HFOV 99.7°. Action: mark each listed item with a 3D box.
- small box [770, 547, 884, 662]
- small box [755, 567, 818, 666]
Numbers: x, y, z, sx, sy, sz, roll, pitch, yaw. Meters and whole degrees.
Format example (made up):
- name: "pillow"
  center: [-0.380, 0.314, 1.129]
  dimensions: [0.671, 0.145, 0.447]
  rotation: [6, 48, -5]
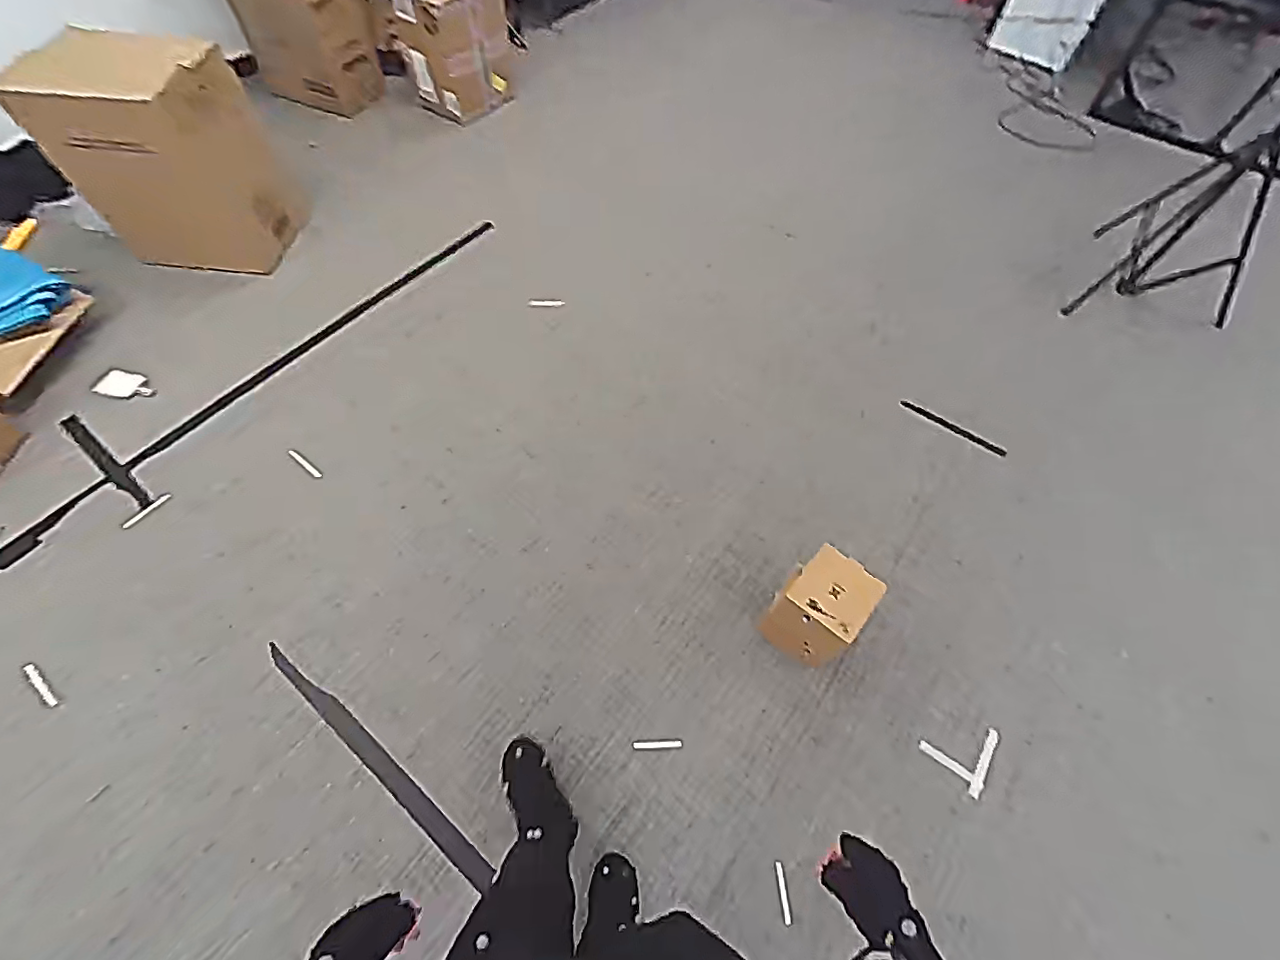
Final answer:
- name: "small box"
  center: [0.427, 0.295, 1.267]
  dimensions: [0.168, 0.176, 0.179]
  rotation: [37, 64, 19]
- name: "small box"
  center: [0.426, 0.365, 1.416]
  dimensions: [0.179, 0.176, 0.168]
  rotation: [30, 62, 16]
